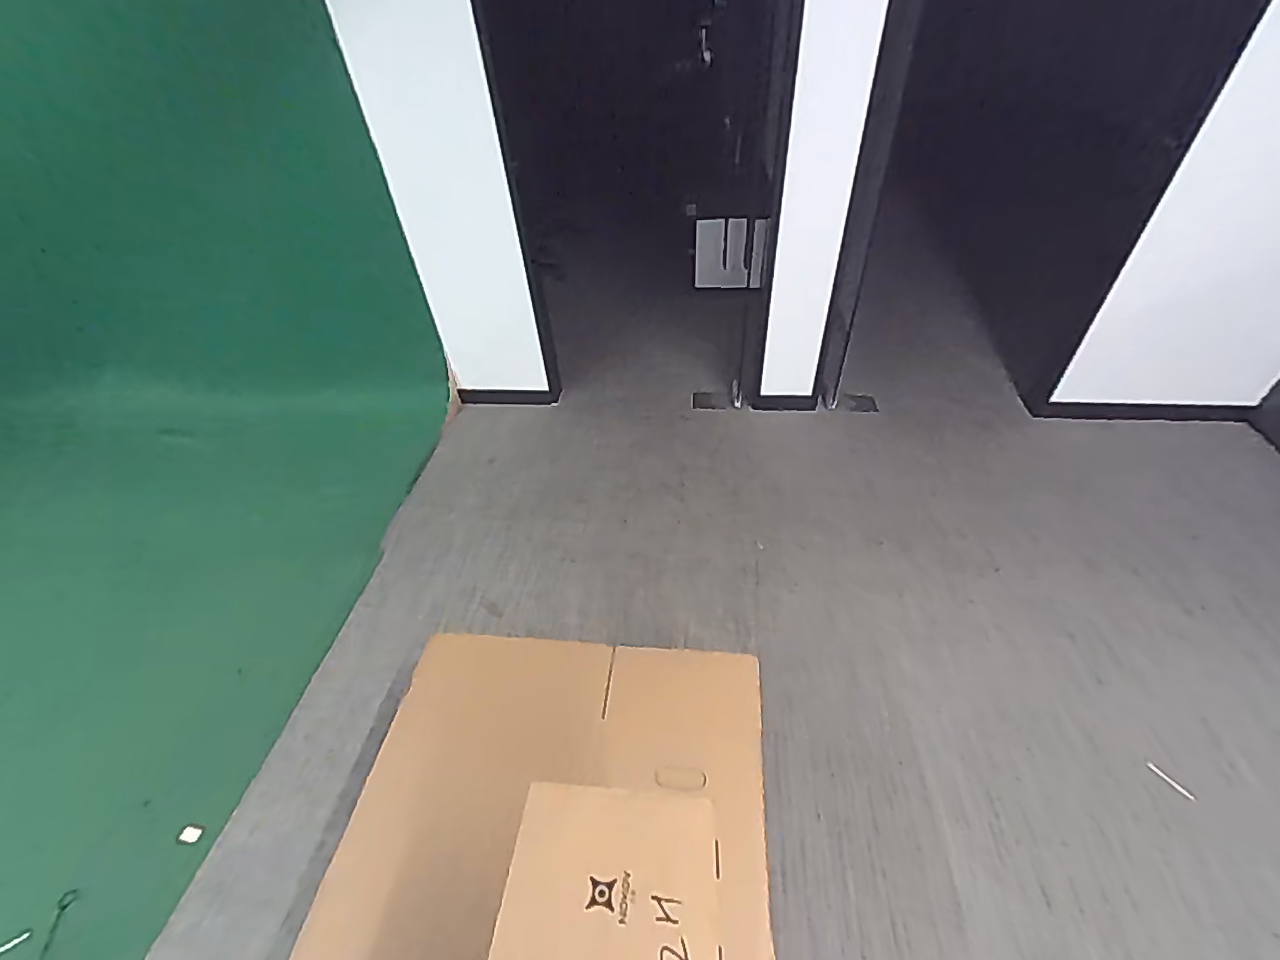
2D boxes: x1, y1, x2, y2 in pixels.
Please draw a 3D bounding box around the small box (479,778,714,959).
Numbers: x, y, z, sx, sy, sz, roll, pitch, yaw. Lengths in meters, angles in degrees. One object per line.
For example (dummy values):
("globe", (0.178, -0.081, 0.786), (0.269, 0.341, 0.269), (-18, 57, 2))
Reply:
("small box", (-0.029, 0.399, 0.481), (0.179, 0.176, 0.168), (5, 35, 3))
